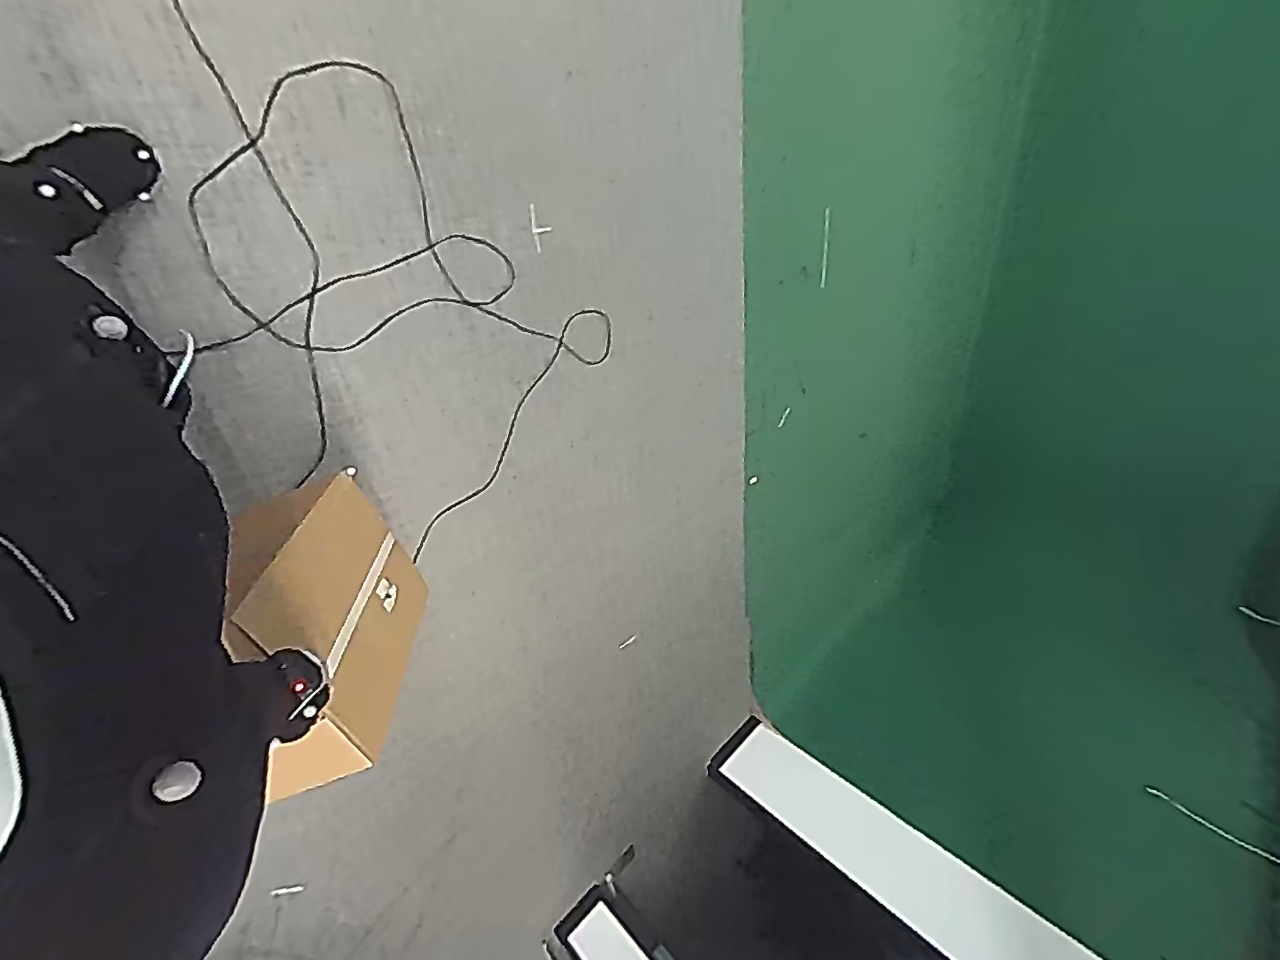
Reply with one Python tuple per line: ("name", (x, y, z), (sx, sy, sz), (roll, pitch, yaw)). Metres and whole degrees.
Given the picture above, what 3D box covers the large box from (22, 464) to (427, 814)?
("large box", (-0.607, 0.237, 0.897), (0.320, 0.408, 0.320), (-21, 118, 1))
